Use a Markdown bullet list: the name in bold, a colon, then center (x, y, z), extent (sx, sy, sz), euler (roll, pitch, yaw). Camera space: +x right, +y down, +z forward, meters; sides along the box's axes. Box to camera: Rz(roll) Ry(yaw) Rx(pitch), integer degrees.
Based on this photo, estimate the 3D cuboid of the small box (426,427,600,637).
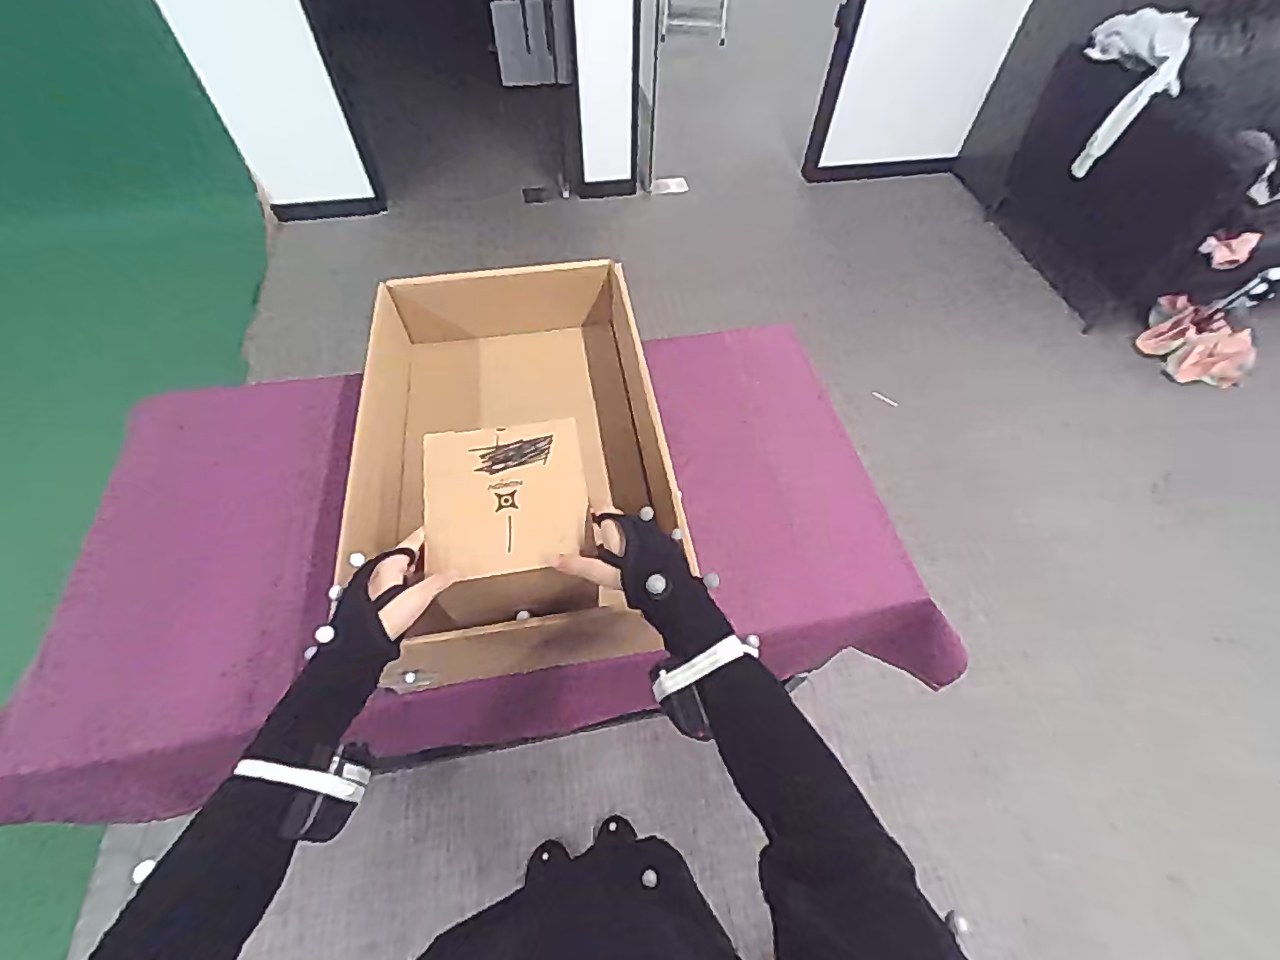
- **small box**: center (-0.141, 0.064, 0.626), extent (0.168, 0.176, 0.179), euler (-8, 61, -9)
